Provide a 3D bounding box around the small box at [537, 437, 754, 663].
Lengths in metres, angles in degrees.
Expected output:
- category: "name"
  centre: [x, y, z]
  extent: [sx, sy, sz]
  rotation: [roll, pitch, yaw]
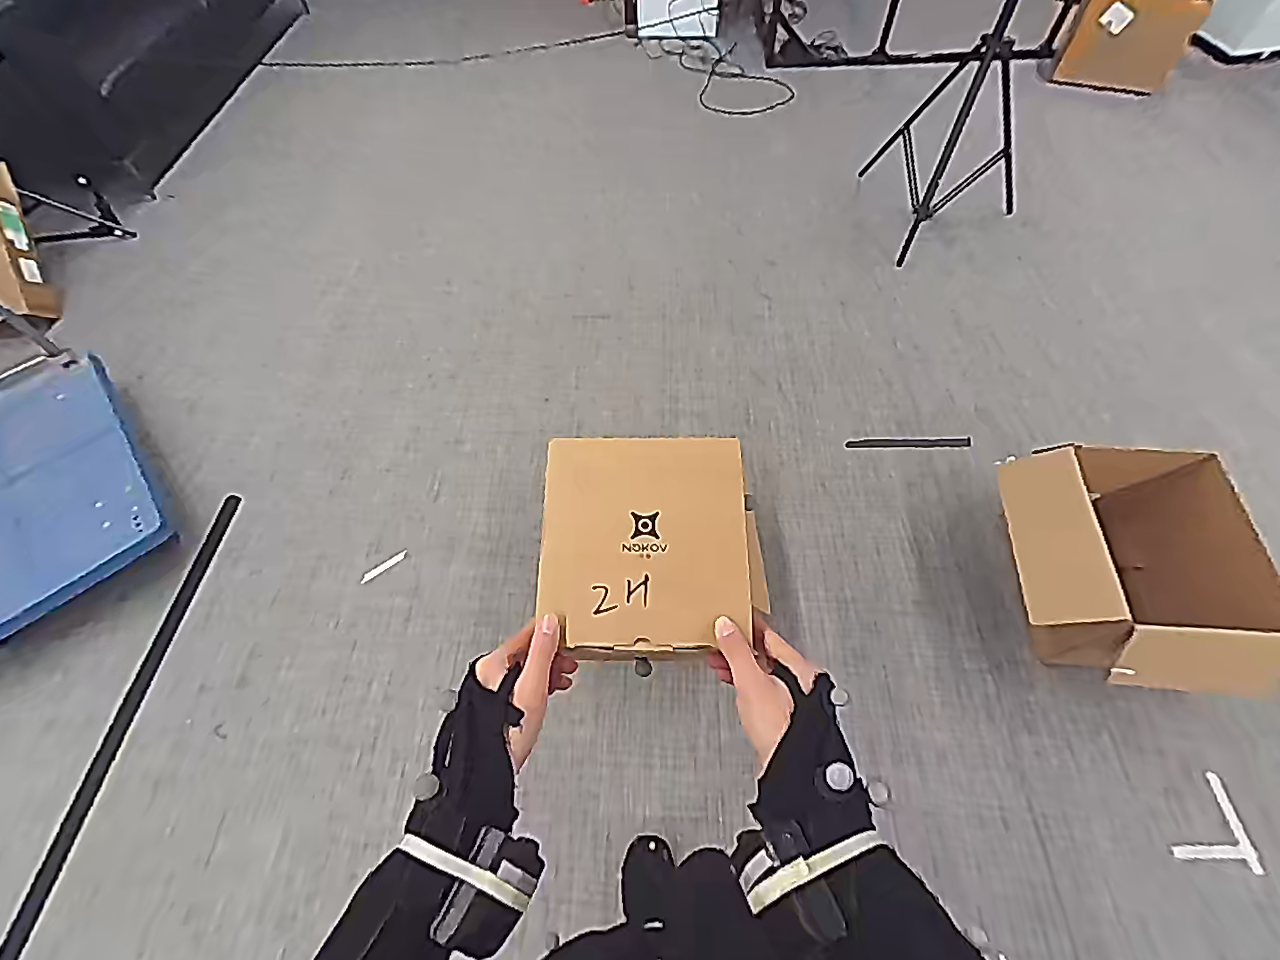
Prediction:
- category: "small box"
  centre: [0.006, 0.074, 0.508]
  extent: [0.168, 0.176, 0.179]
  rotation: [0, 68, 2]
